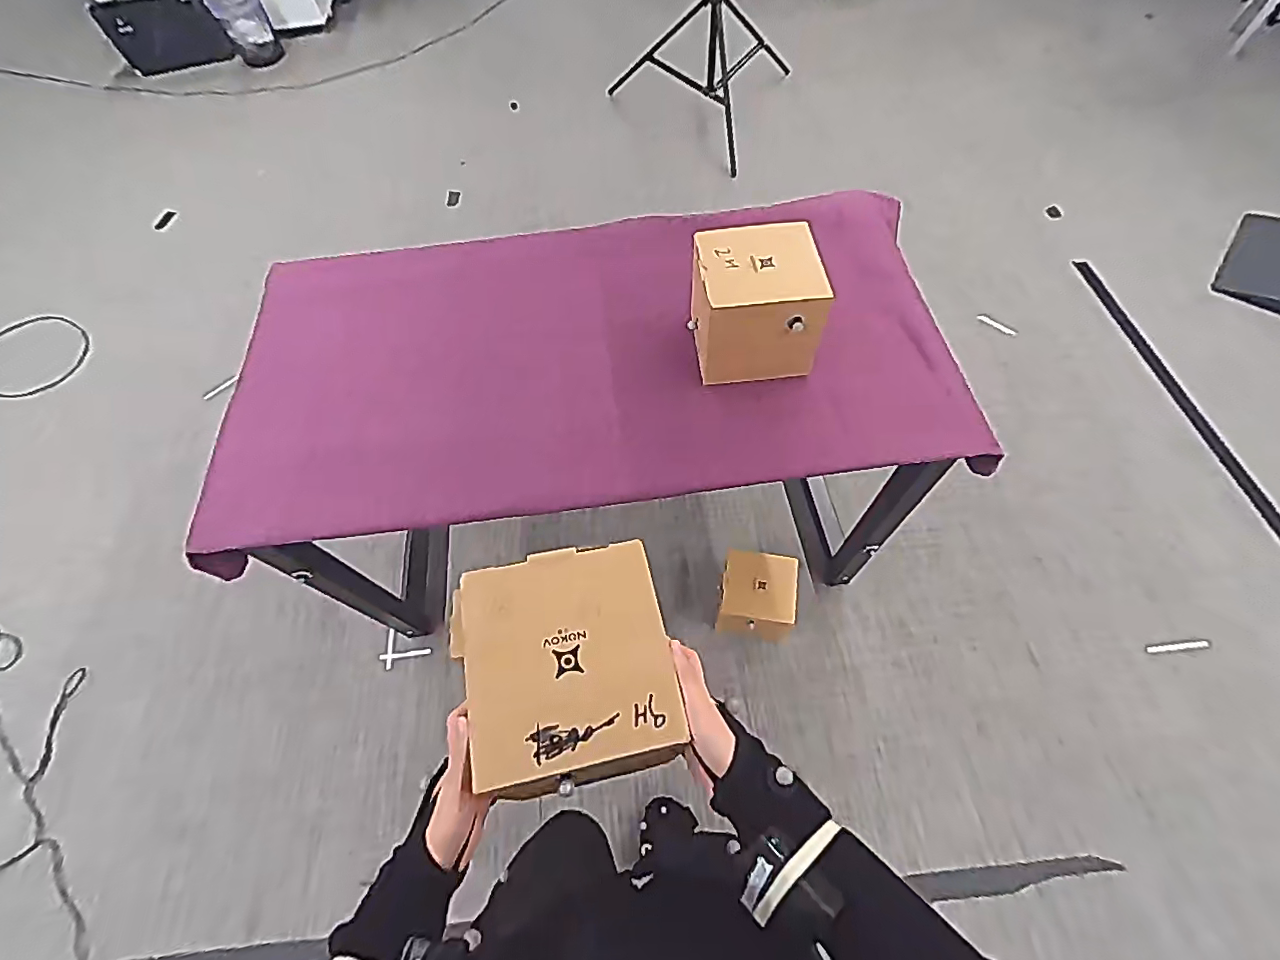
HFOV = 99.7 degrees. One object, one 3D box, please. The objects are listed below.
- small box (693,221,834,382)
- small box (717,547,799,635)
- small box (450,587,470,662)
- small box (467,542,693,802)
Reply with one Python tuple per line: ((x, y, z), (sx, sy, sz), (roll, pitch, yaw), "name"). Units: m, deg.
((0.180, -0.273, 0.849), (0.179, 0.176, 0.168), (-6, 61, 1), "small box")
((0.295, 0.287, 1.371), (0.179, 0.176, 0.168), (7, 63, 9), "small box")
((-0.361, 0.369, 1.369), (0.179, 0.176, 0.168), (-6, 63, 0), "small box")
((-0.059, 0.184, 0.508), (0.168, 0.176, 0.179), (-10, 58, -8), "small box")
